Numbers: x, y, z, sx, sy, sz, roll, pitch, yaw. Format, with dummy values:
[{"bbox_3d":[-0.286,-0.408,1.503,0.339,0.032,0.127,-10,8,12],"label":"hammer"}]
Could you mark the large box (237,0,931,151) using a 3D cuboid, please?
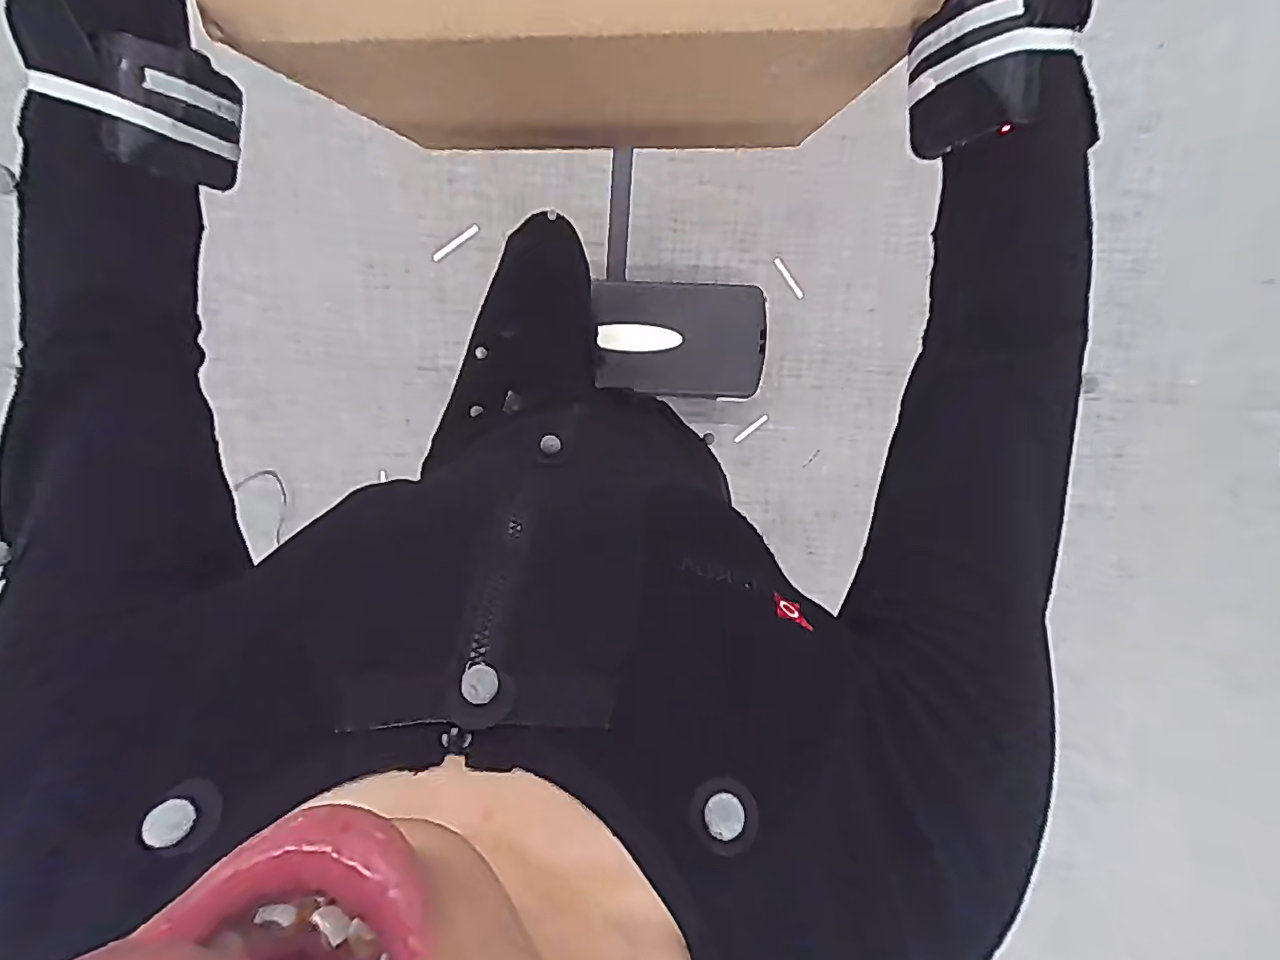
[{"bbox_3d":[-0.034,-0.454,0.395,0.408,0.320,0.320,0,111,1],"label":"large box"}]
